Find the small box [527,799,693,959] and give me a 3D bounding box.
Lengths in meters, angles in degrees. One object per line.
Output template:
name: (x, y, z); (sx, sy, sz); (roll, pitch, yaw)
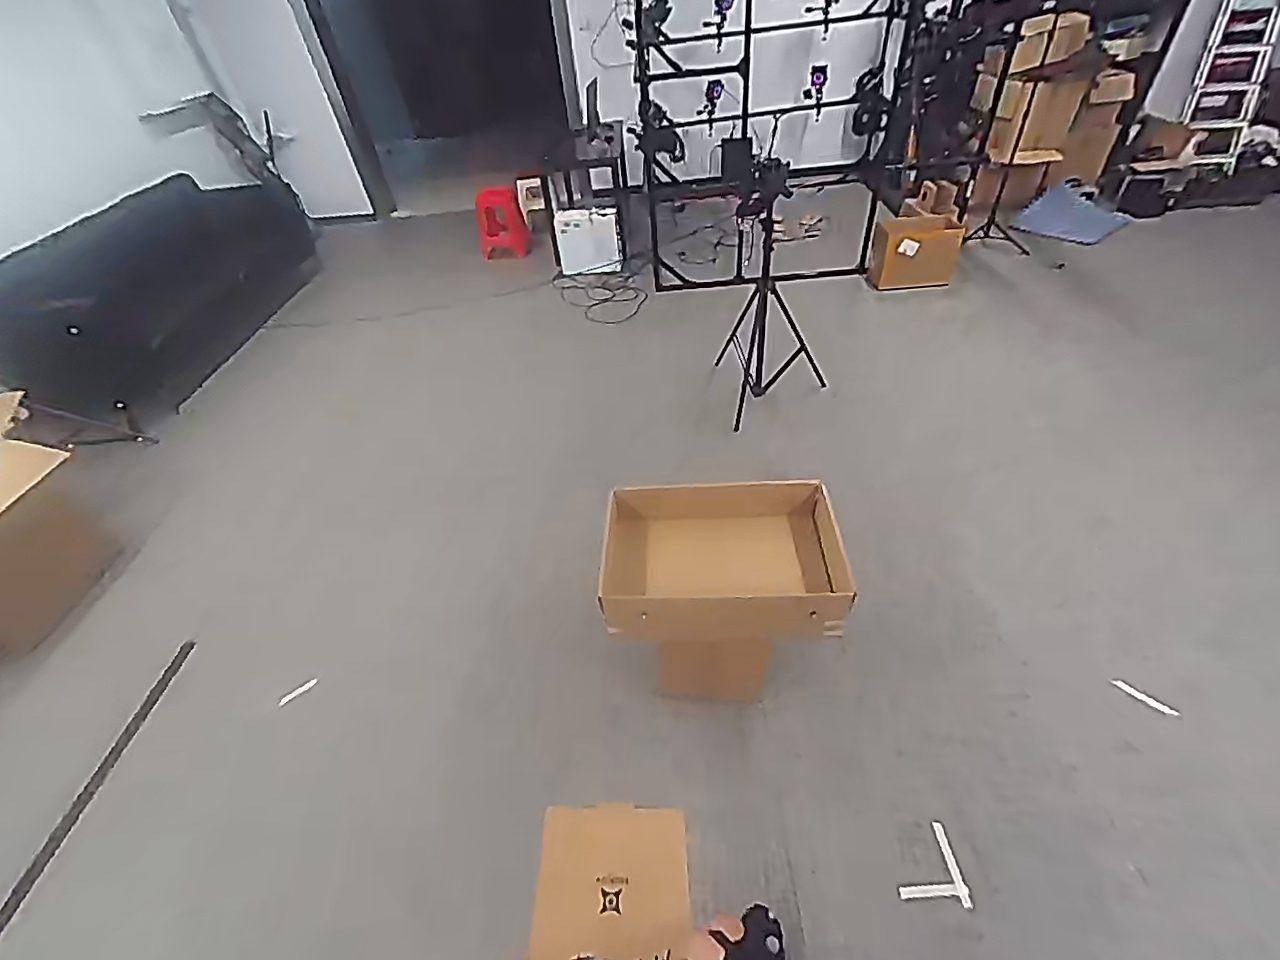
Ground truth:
small box: (-0.033, 0.501, 0.622); (0.168, 0.176, 0.179); (3, 34, -2)
